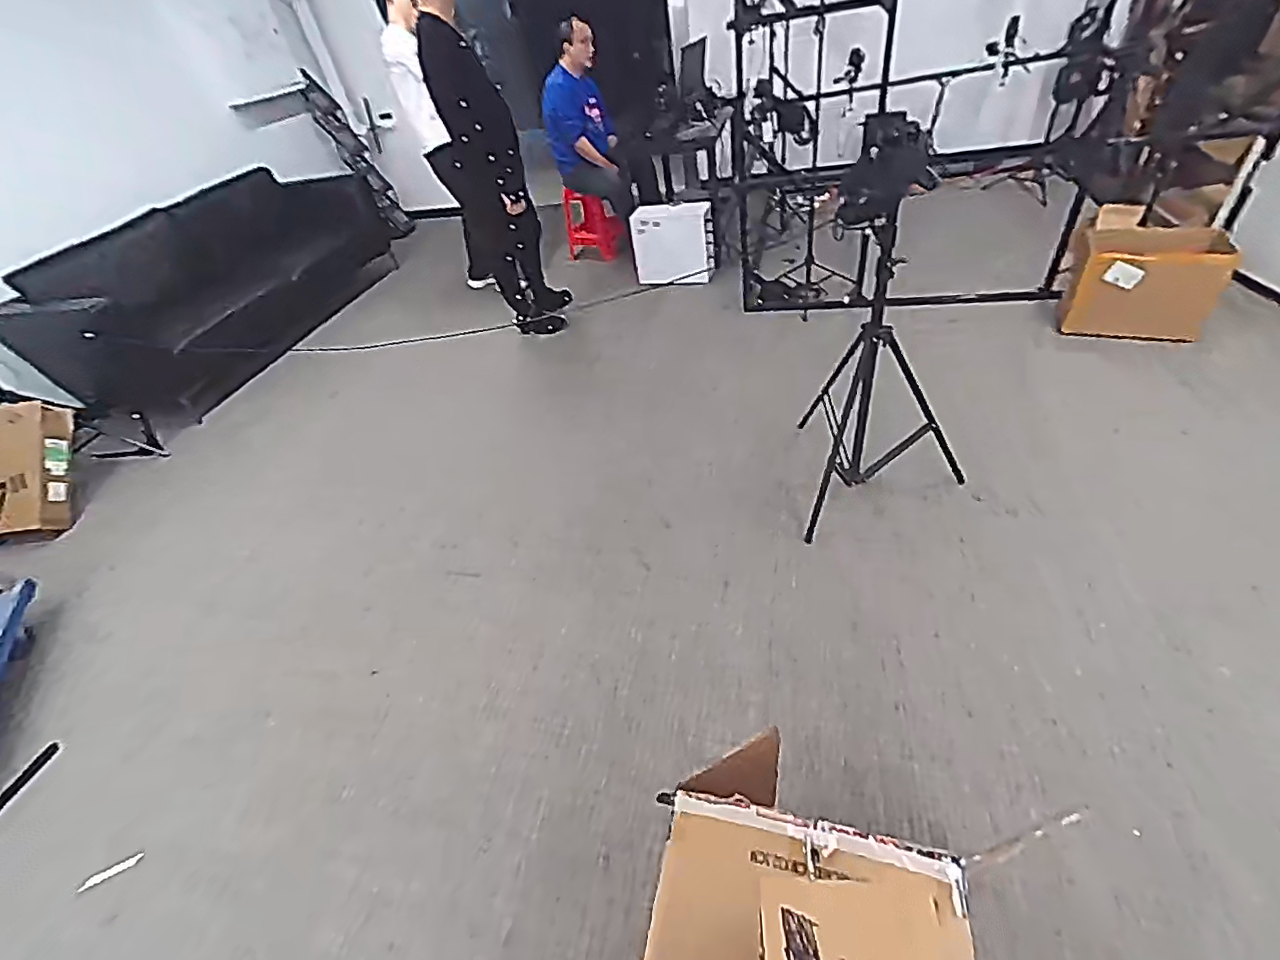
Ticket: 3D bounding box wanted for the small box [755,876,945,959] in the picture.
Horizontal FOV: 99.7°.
[{"bbox_3d":[0.219,0.537,0.554,0.179,0.176,0.168,-7,35,12],"label":"small box"}]
